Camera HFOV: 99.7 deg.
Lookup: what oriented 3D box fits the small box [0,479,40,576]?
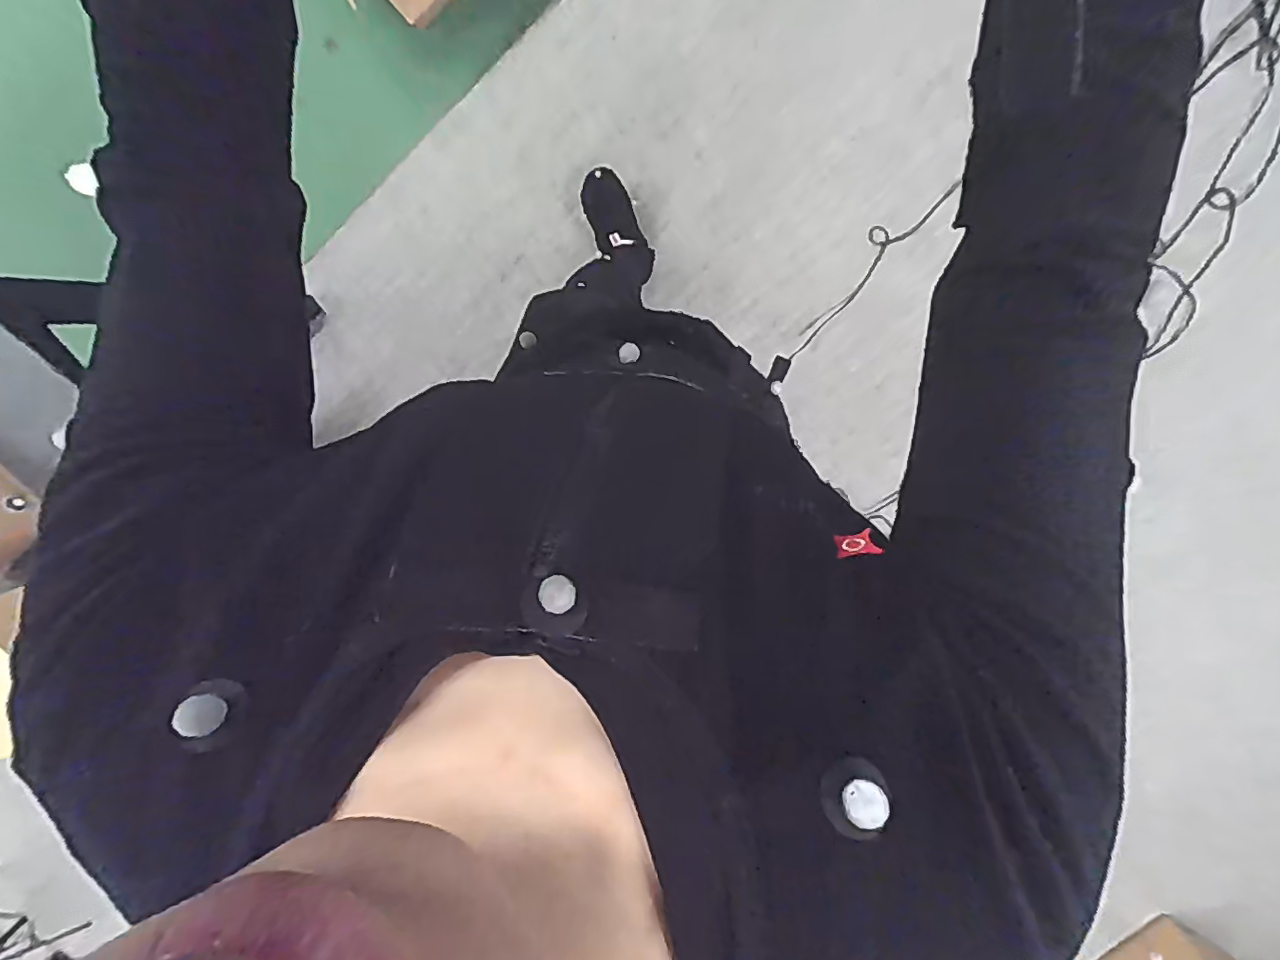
[{"bbox_3d":[-1.003,0.071,0.738,0.179,0.176,0.168,-37,100,15],"label":"small box"}]
